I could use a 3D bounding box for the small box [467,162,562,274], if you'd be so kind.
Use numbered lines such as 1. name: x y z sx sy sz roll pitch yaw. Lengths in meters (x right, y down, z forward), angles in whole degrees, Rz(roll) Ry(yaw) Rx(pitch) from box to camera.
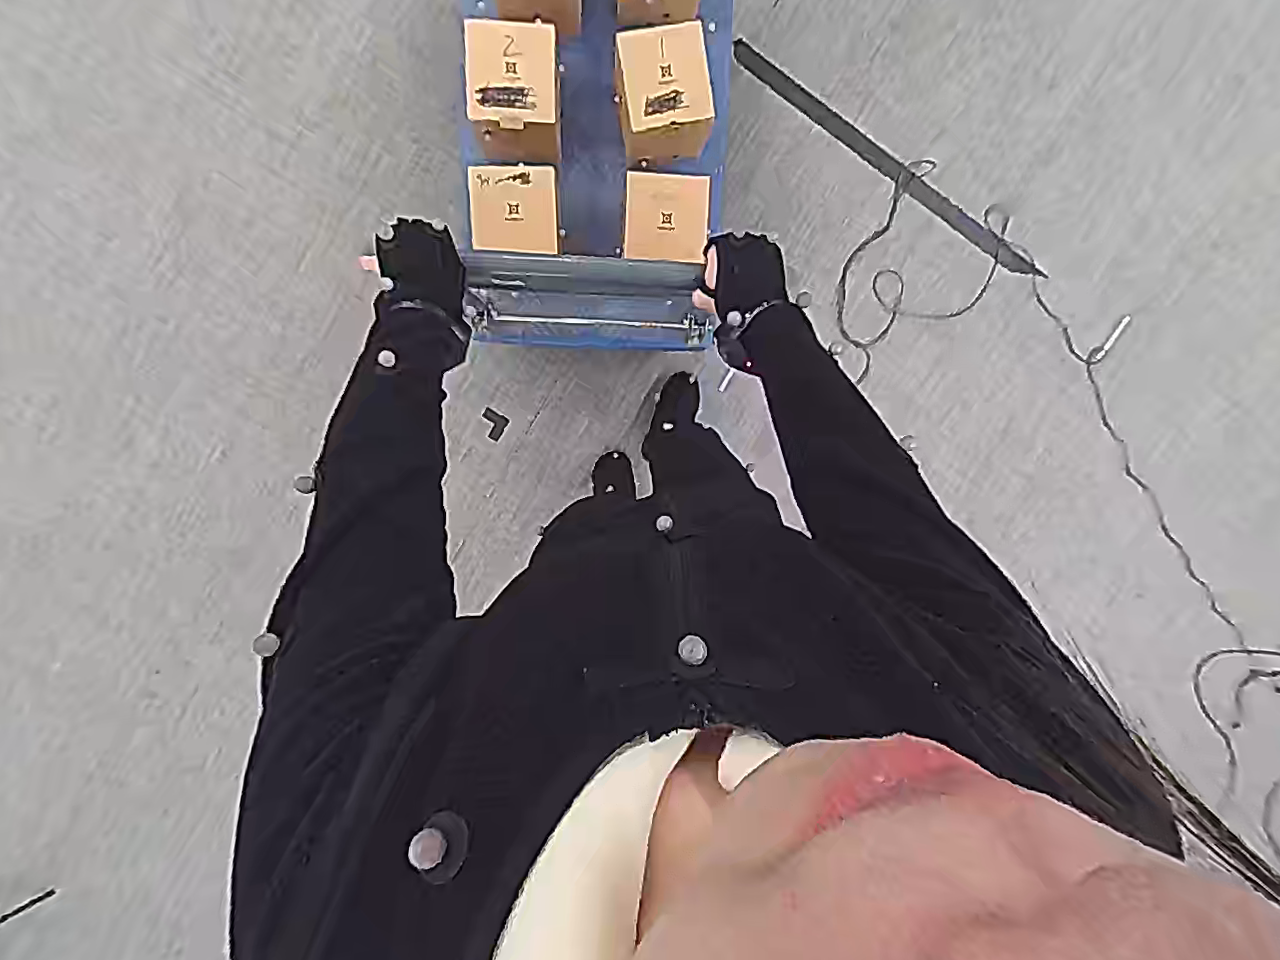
1. small box: -0.253 -0.533 1.122 0.168 0.176 0.179 -2 99 -5

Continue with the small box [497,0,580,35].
1. small box: -0.200 -1.024 1.050 0.168 0.176 0.179 3 99 -5

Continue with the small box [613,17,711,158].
1. small box: 0.039 -0.787 1.107 0.168 0.176 0.179 -11 99 -3

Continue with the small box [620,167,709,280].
1. small box: 0.044 -0.532 1.147 0.168 0.176 0.179 2 98 -5

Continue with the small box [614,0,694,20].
1. small box: 0.032 -1.056 1.066 0.168 0.176 0.179 -2 99 -4
